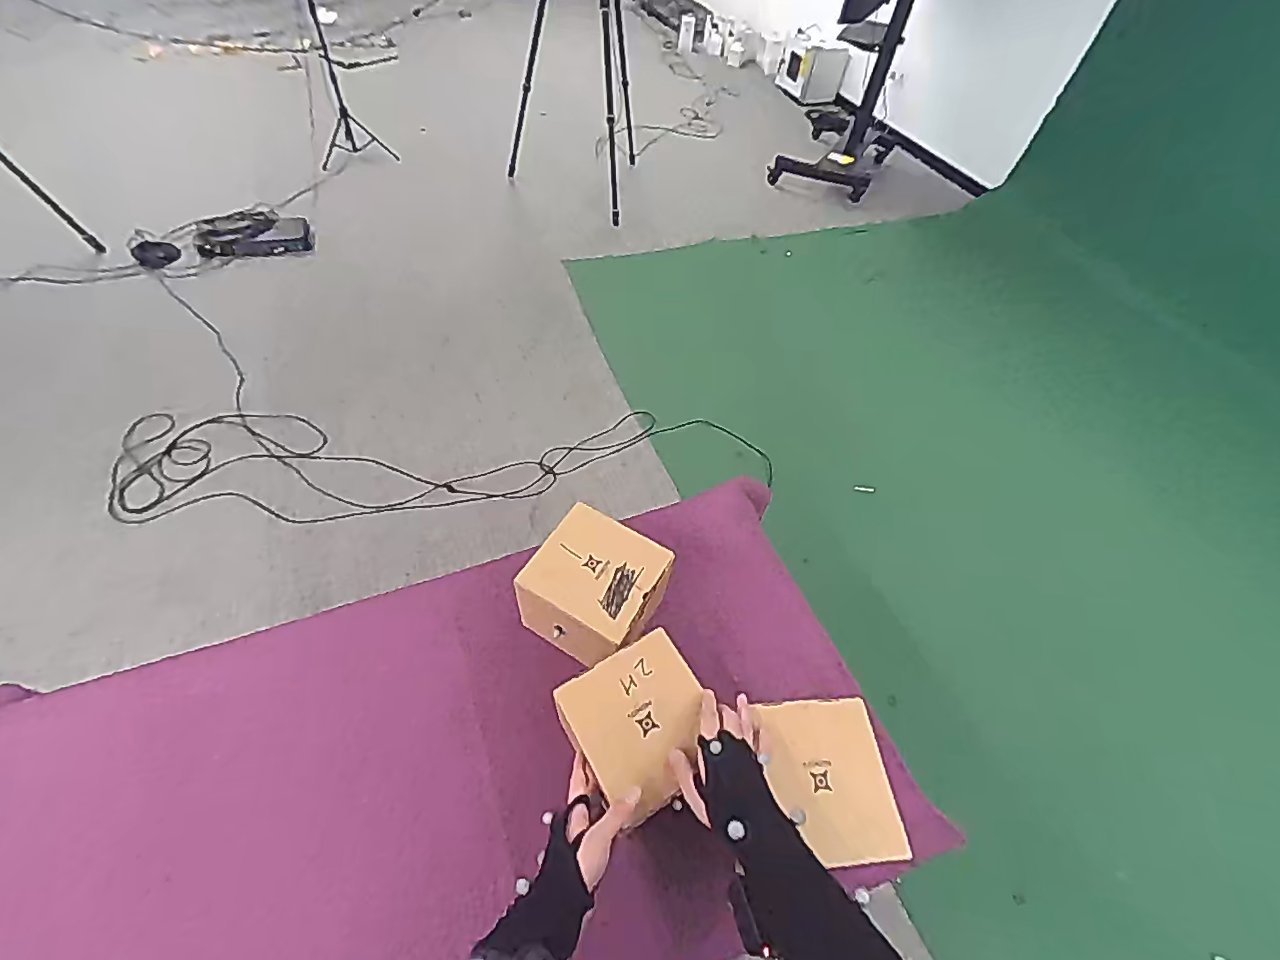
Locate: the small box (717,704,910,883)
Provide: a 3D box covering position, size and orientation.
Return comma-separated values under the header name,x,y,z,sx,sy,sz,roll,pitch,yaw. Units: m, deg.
name,x,y,z,sx,sy,sz,roll,pitch,yaw
small box,0.204,0.404,0.694,0.168,0.176,0.179,0,52,-7
